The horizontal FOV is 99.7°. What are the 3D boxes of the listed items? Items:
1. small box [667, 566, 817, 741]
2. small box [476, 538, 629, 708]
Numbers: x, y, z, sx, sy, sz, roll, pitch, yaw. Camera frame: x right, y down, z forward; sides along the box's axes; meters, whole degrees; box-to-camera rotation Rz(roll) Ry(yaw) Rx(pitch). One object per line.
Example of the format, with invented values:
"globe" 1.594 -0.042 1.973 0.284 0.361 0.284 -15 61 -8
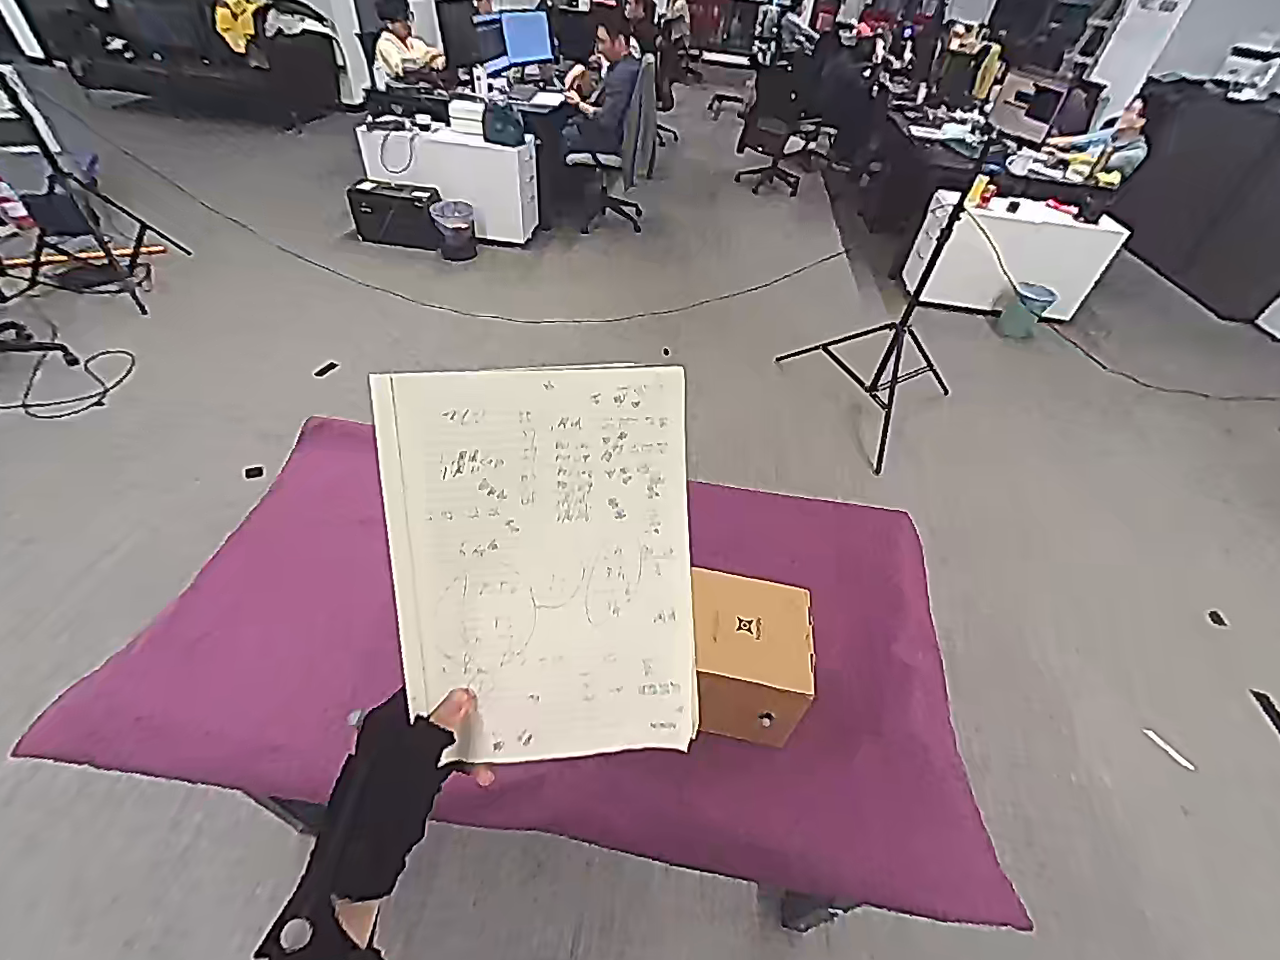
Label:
"small box" 0.142 0.253 0.781 0.179 0.176 0.168 9 42 6
"small box" -0.120 0.212 0.792 0.179 0.176 0.168 9 43 2
